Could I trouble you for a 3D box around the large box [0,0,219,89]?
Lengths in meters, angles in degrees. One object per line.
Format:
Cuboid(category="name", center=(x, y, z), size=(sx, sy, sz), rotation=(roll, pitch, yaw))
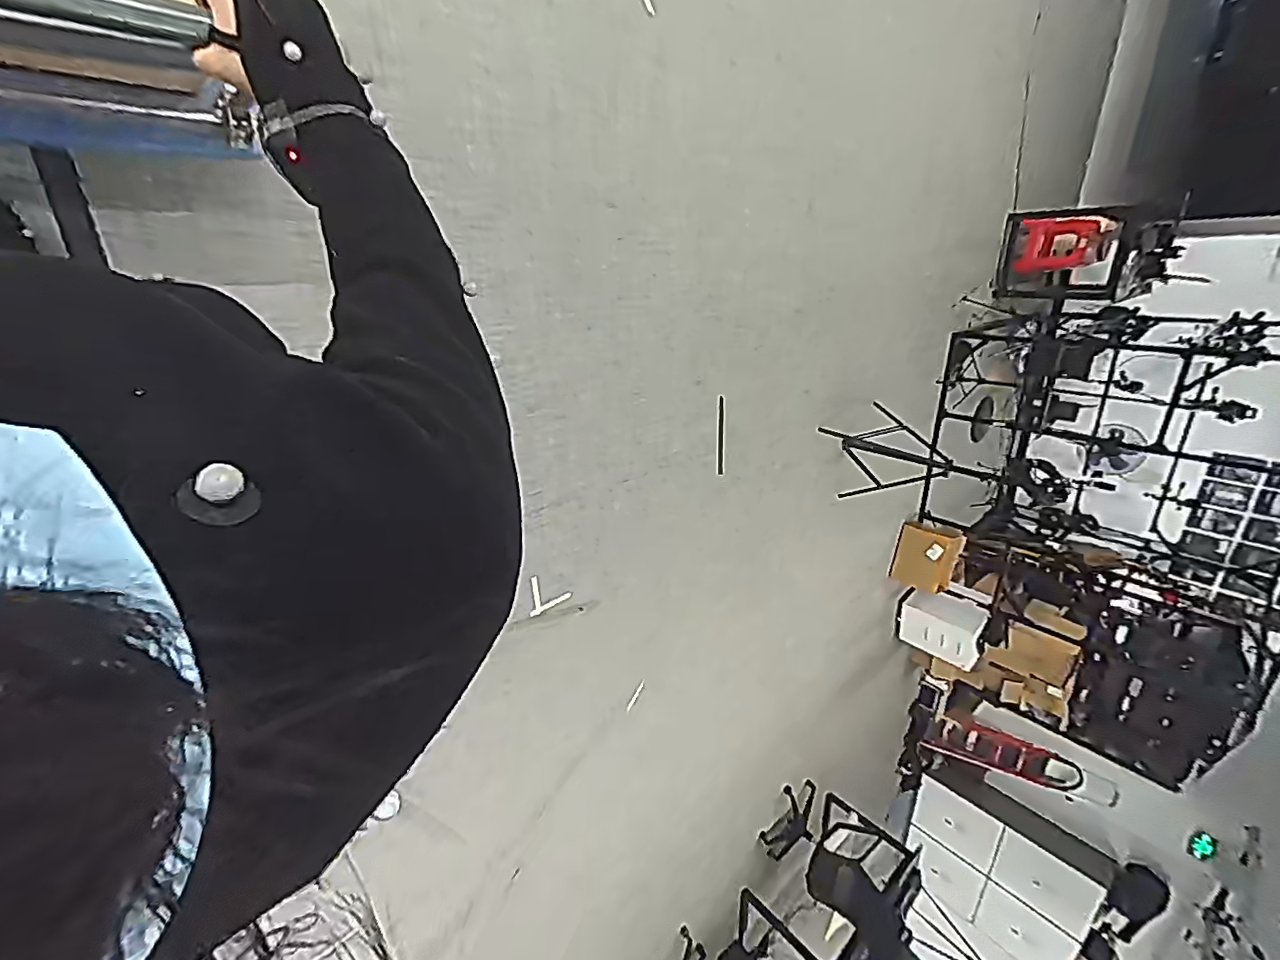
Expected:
Cuboid(category="large box", center=(-0.795, -0.703, 0.624), size=(0.408, 0.320, 0.320), rotation=(-19, 118, -39))
